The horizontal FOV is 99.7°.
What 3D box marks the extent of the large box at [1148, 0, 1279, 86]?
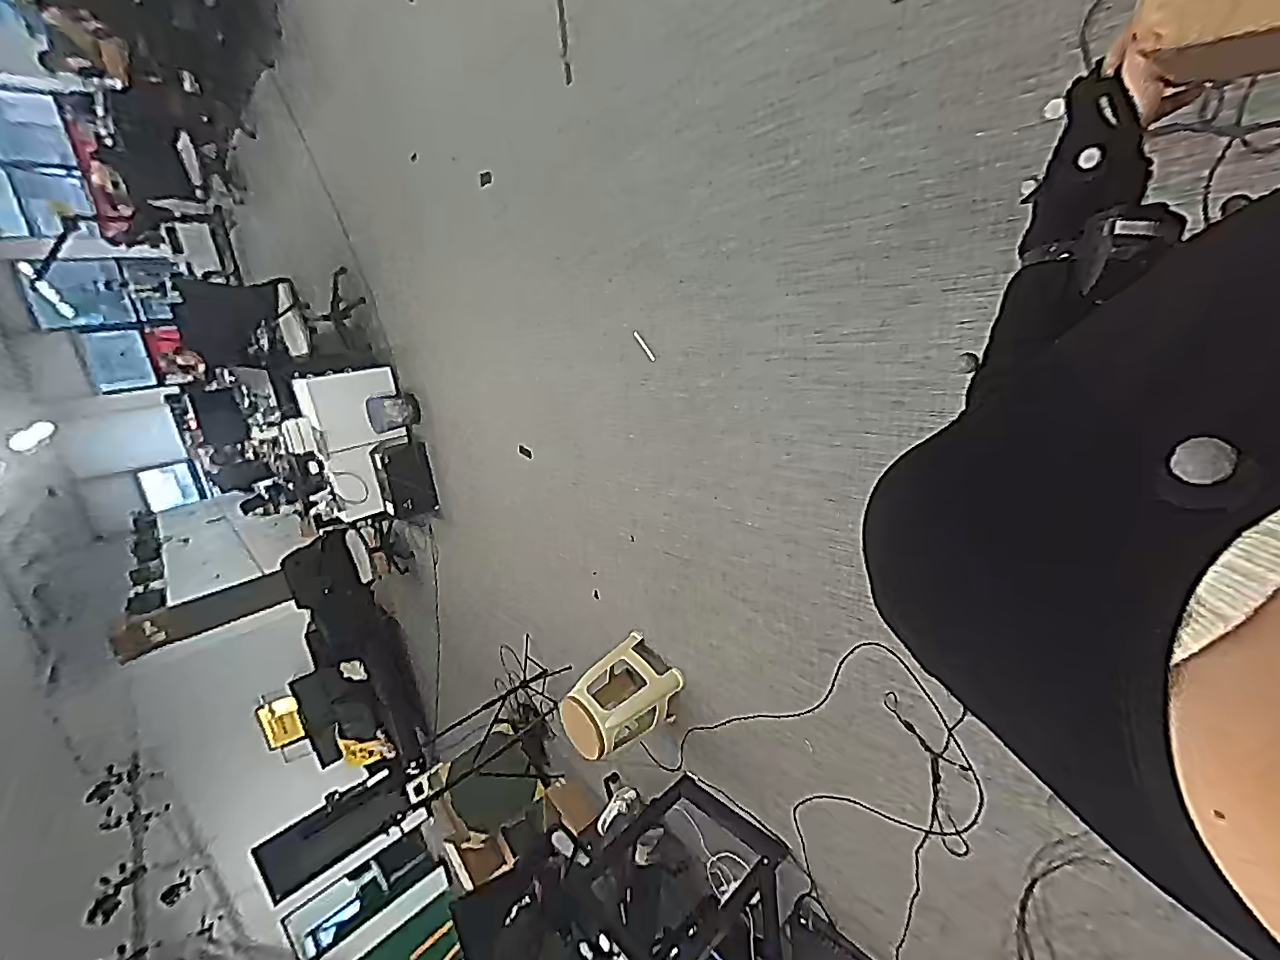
[{"bbox_3d":[0.424,-0.330,0.123,0.408,0.320,0.320,16,126,38],"label":"large box"}]
